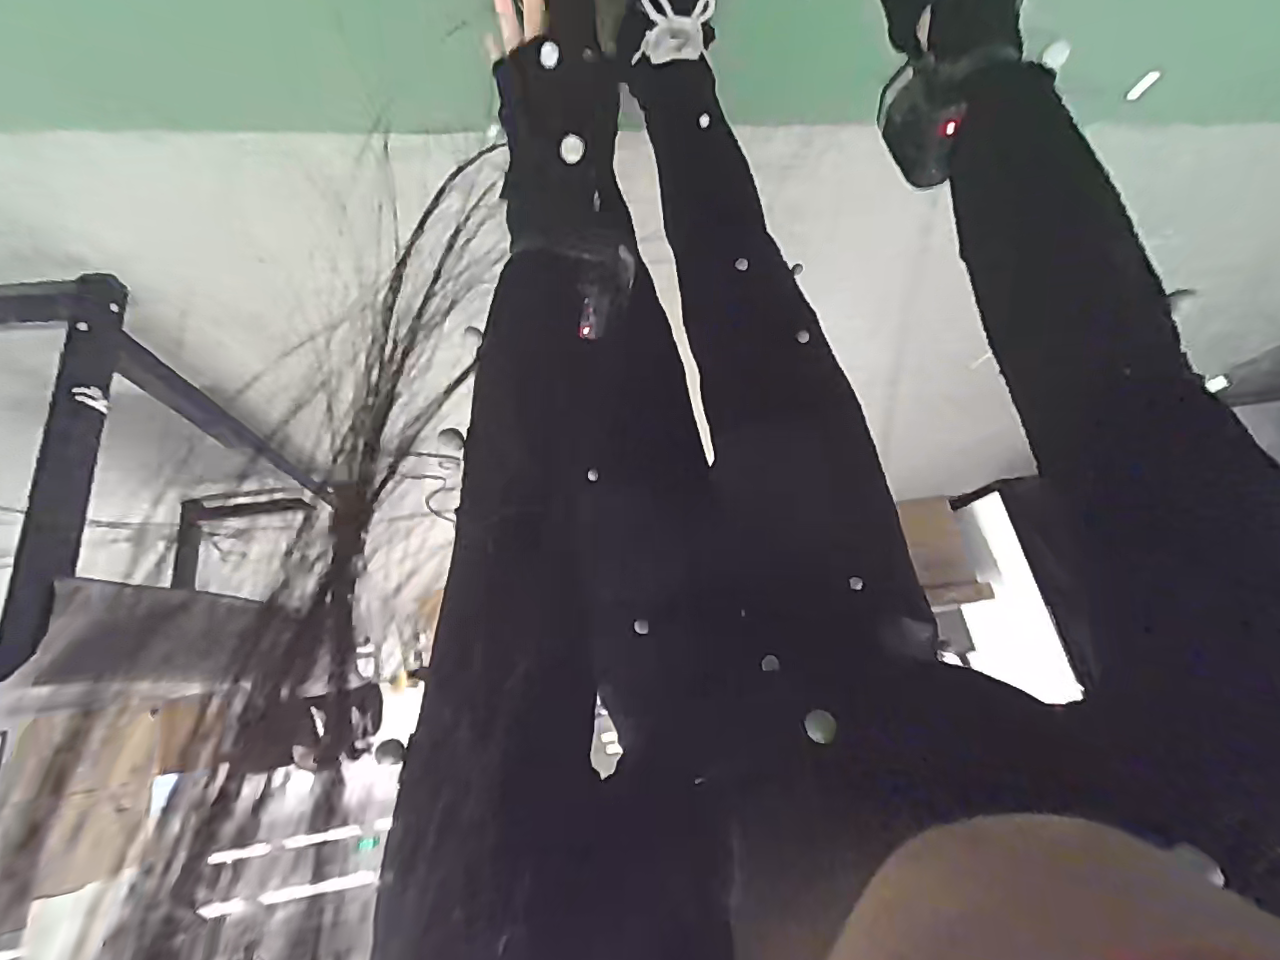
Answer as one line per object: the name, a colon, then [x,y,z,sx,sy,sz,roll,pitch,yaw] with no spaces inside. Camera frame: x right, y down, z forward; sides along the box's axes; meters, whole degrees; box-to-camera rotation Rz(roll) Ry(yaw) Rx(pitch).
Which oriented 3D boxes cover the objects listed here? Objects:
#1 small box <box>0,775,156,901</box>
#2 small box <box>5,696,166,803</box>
small box: [-1.138,0.712,1.094,0.179,0.176,0.168,-8,161,-6]
small box: [-1.148,0.554,1.139,0.179,0.176,0.168,-6,160,-7]
